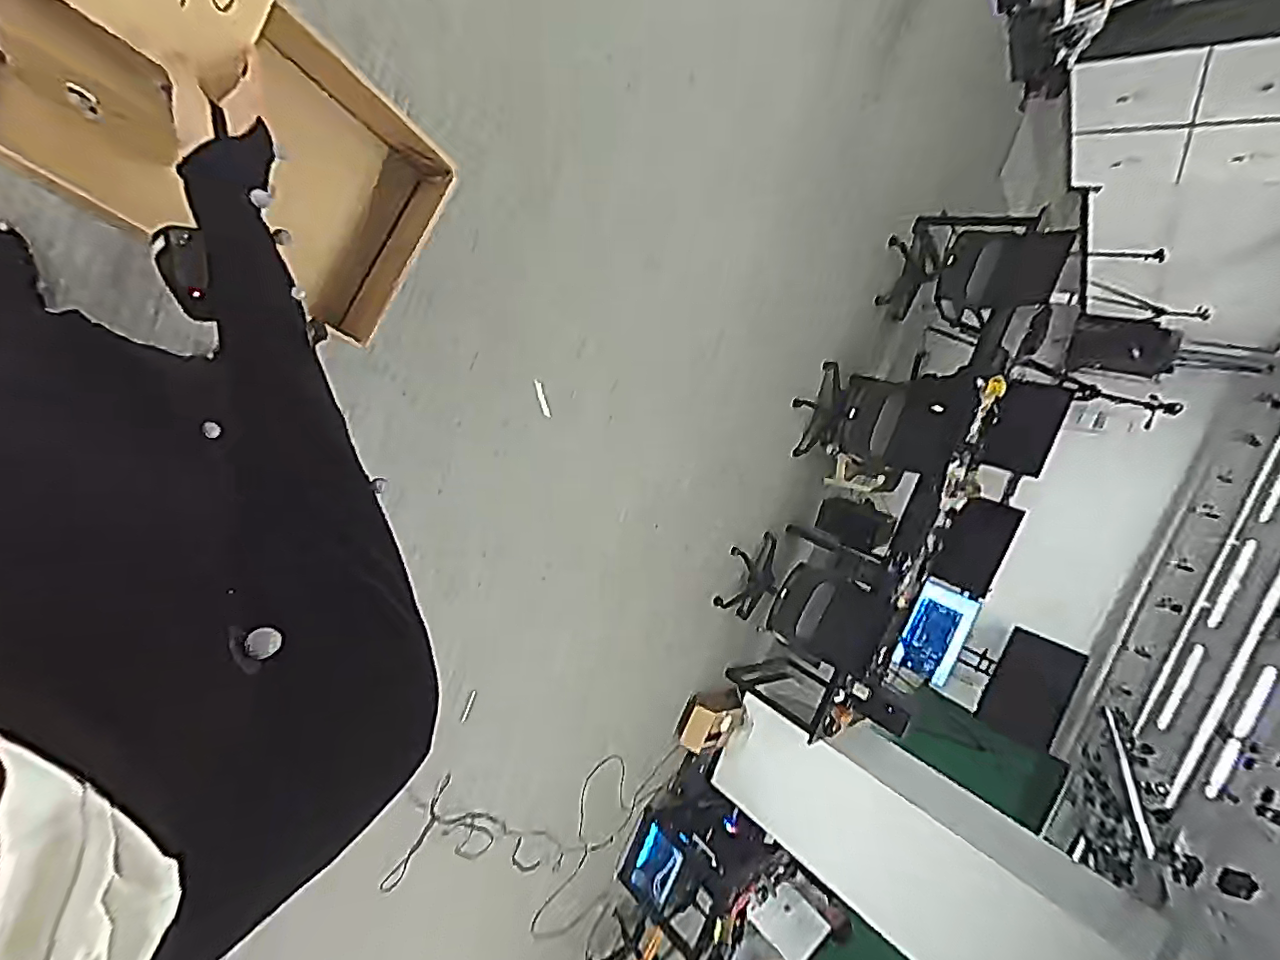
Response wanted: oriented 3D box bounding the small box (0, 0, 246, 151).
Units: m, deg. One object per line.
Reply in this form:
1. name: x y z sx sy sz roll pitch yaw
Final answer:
1. small box: -0.598 -0.520 0.623 0.168 0.176 0.179 22 90 -49

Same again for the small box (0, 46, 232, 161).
1. small box: -0.708 -0.564 0.736 0.179 0.176 0.168 26 88 -51
